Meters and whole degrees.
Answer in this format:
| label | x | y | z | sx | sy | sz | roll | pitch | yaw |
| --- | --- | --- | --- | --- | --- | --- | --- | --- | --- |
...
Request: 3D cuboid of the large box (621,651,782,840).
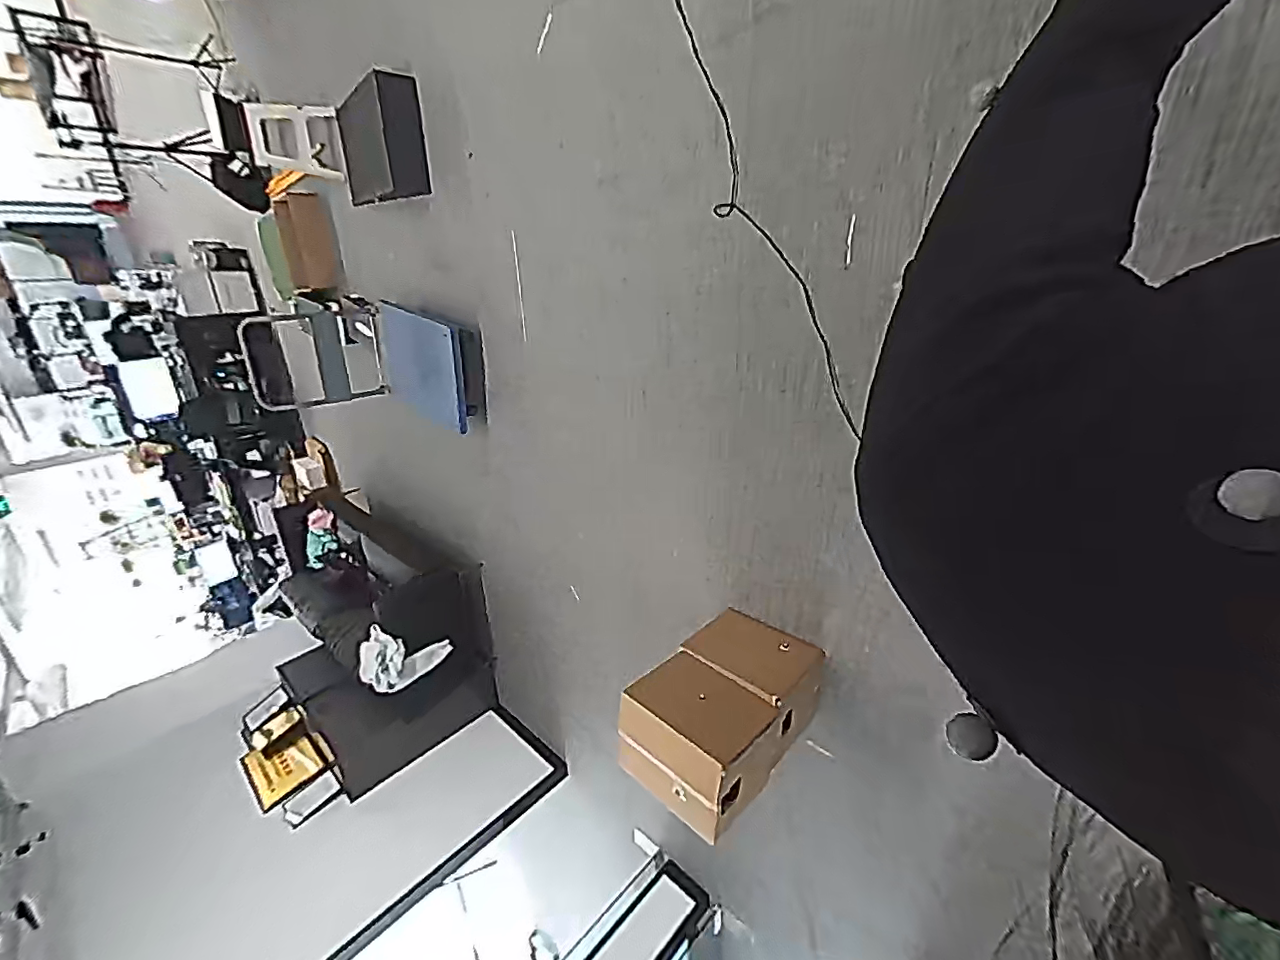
| label | x | y | z | sx | sy | sz | roll | pitch | yaw |
| --- | --- | --- | --- | --- | --- | --- | --- | --- | --- |
| large box | 0.189 | 0.824 | 1.748 | 0.408 | 0.320 | 0.320 | 20 | 116 | 39 |
